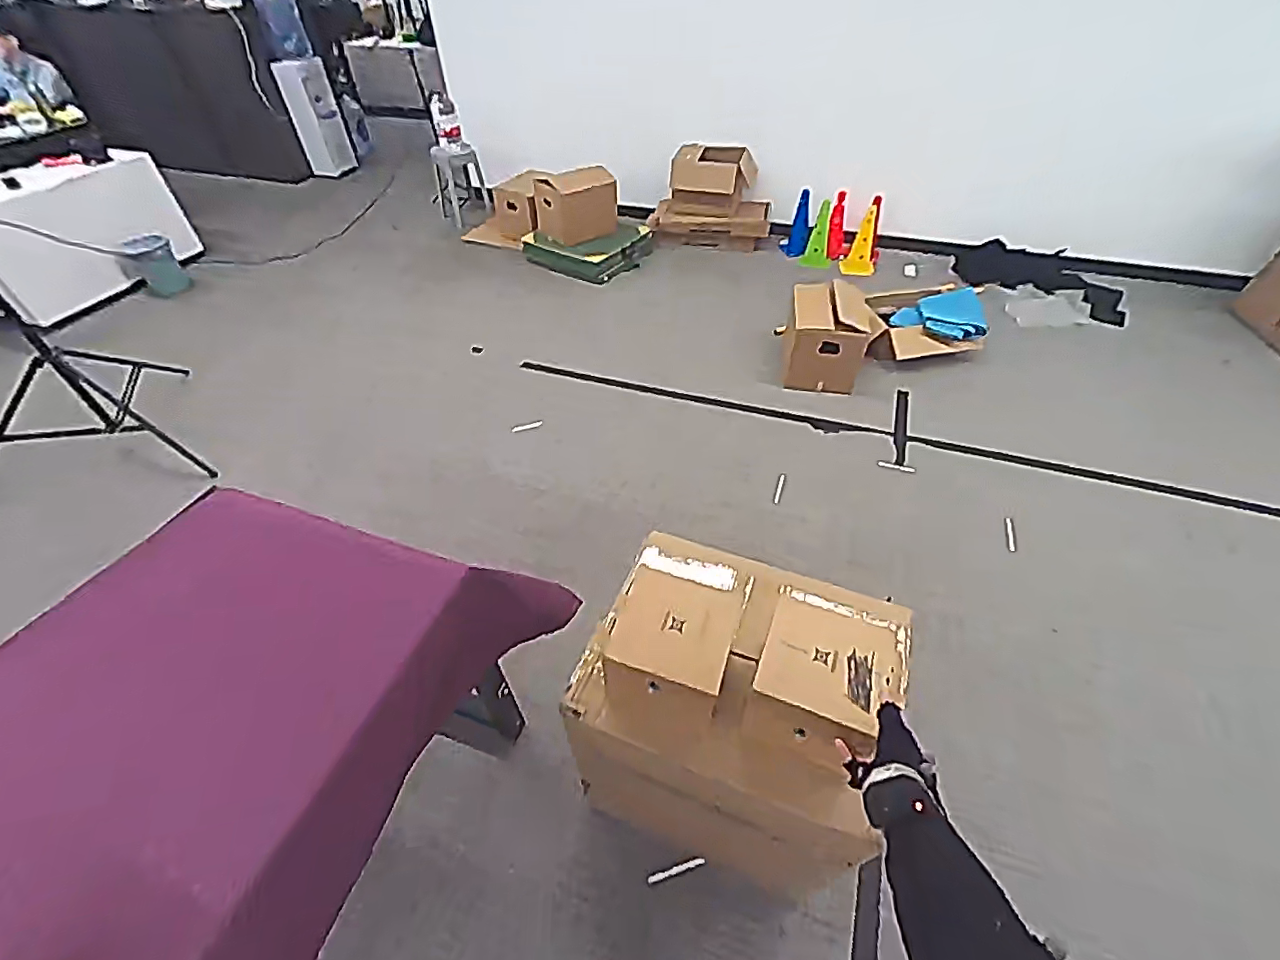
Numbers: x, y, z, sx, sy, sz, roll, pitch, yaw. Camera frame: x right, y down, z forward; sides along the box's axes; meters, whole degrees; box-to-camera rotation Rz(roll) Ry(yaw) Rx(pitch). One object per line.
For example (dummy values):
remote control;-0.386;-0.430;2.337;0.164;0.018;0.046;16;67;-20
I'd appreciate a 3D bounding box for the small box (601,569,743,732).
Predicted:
small box;0.052;0.275;0.864;0.179;0.176;0.168;15;49;14

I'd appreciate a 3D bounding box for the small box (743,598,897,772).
small box;0.266;0.314;0.819;0.179;0.176;0.168;16;49;19
